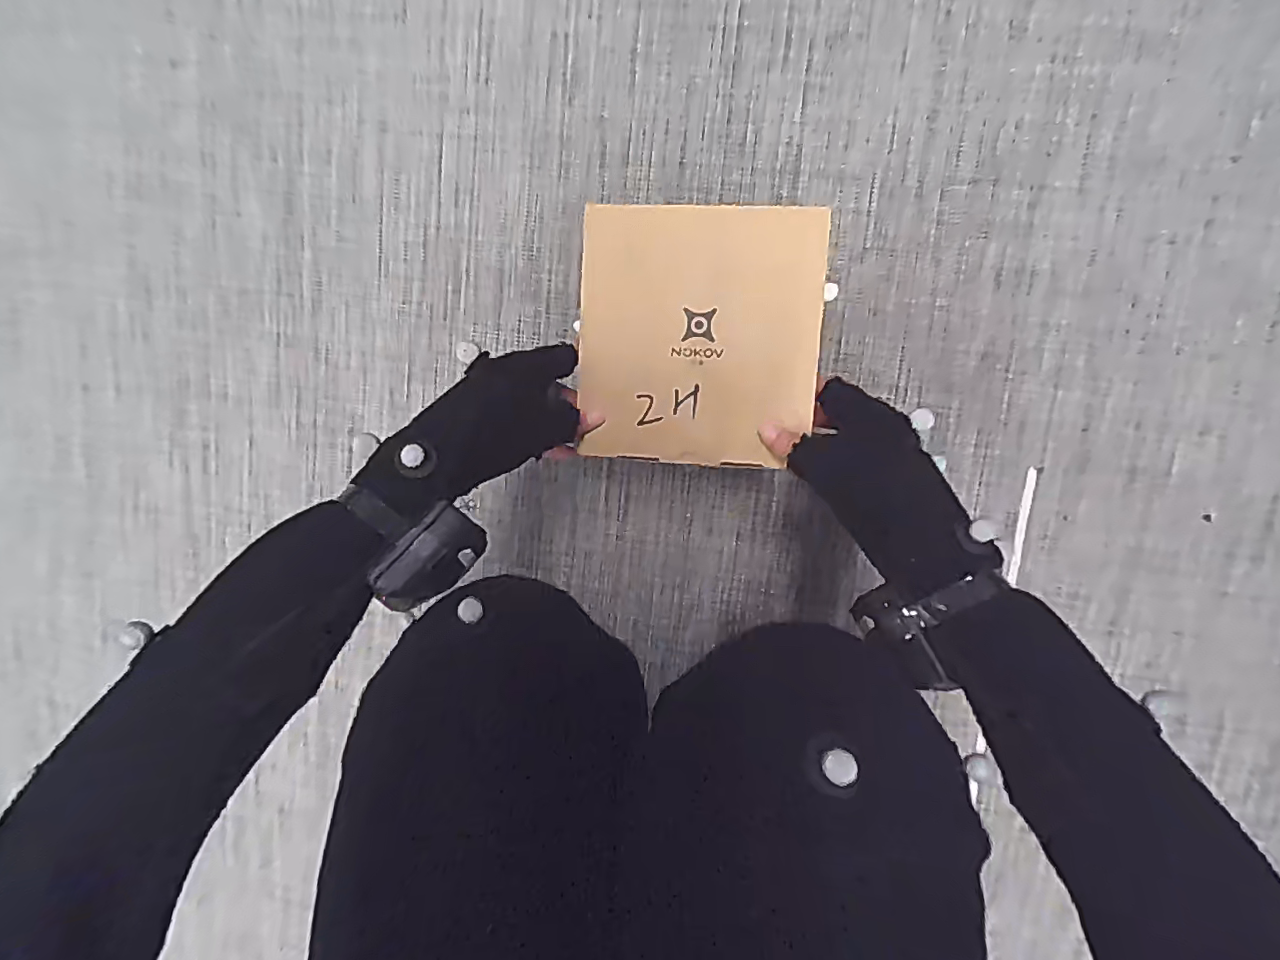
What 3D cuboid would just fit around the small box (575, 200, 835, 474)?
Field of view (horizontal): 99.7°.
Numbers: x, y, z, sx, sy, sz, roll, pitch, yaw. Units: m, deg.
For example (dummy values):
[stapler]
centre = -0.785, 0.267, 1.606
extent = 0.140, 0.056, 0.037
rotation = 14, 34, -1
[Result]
[small box]
centre = 0.049, -0.105, 0.448
extent = 0.168, 0.176, 0.179
rotation = 5, 97, 7
